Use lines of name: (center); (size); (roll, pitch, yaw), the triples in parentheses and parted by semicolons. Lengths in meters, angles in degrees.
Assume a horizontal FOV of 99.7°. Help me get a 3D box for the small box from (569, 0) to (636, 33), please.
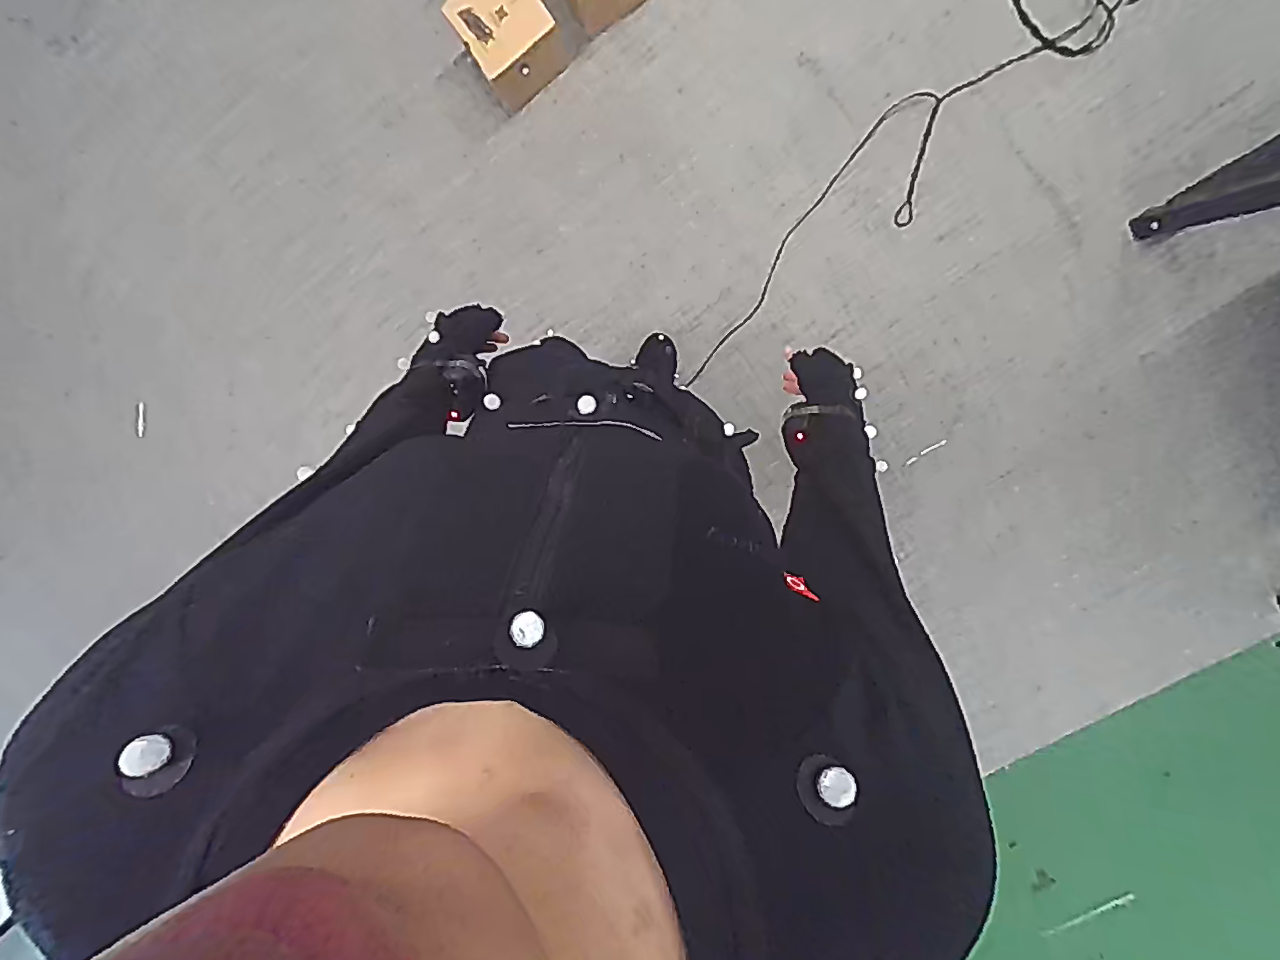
small box: (-0.088, -1.097, 1.121); (0.179, 0.176, 0.168); (-29, 102, 11)

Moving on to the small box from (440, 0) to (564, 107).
small box: (-0.286, -0.958, 1.165); (0.179, 0.176, 0.168); (-35, 100, 10)
